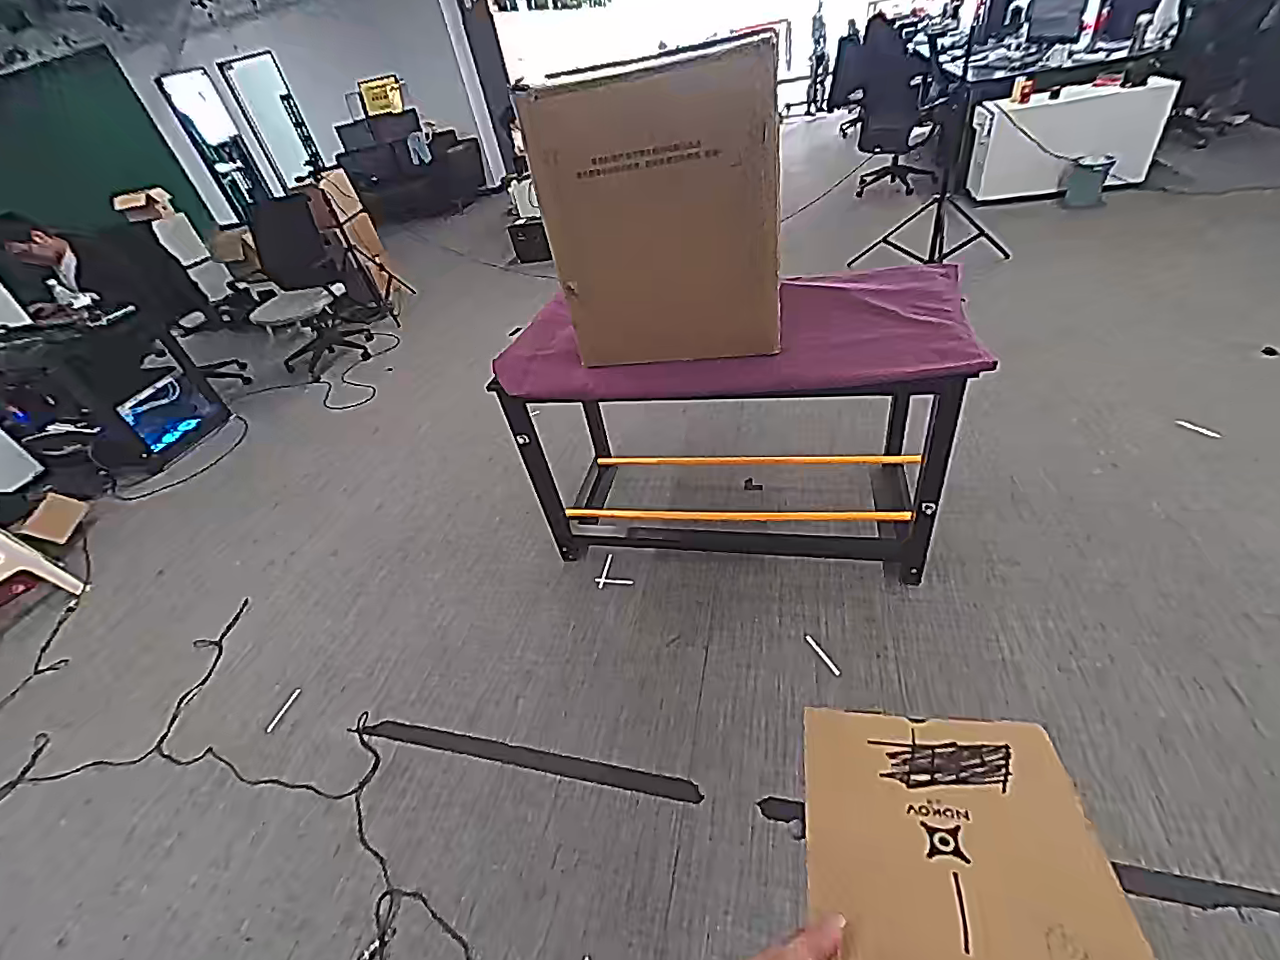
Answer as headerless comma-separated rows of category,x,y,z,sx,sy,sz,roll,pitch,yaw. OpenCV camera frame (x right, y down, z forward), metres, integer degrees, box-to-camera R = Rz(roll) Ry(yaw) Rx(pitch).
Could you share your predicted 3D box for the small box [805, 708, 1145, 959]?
small box,0.202,0.292,0.373,0.168,0.176,0.179,-3,26,17
